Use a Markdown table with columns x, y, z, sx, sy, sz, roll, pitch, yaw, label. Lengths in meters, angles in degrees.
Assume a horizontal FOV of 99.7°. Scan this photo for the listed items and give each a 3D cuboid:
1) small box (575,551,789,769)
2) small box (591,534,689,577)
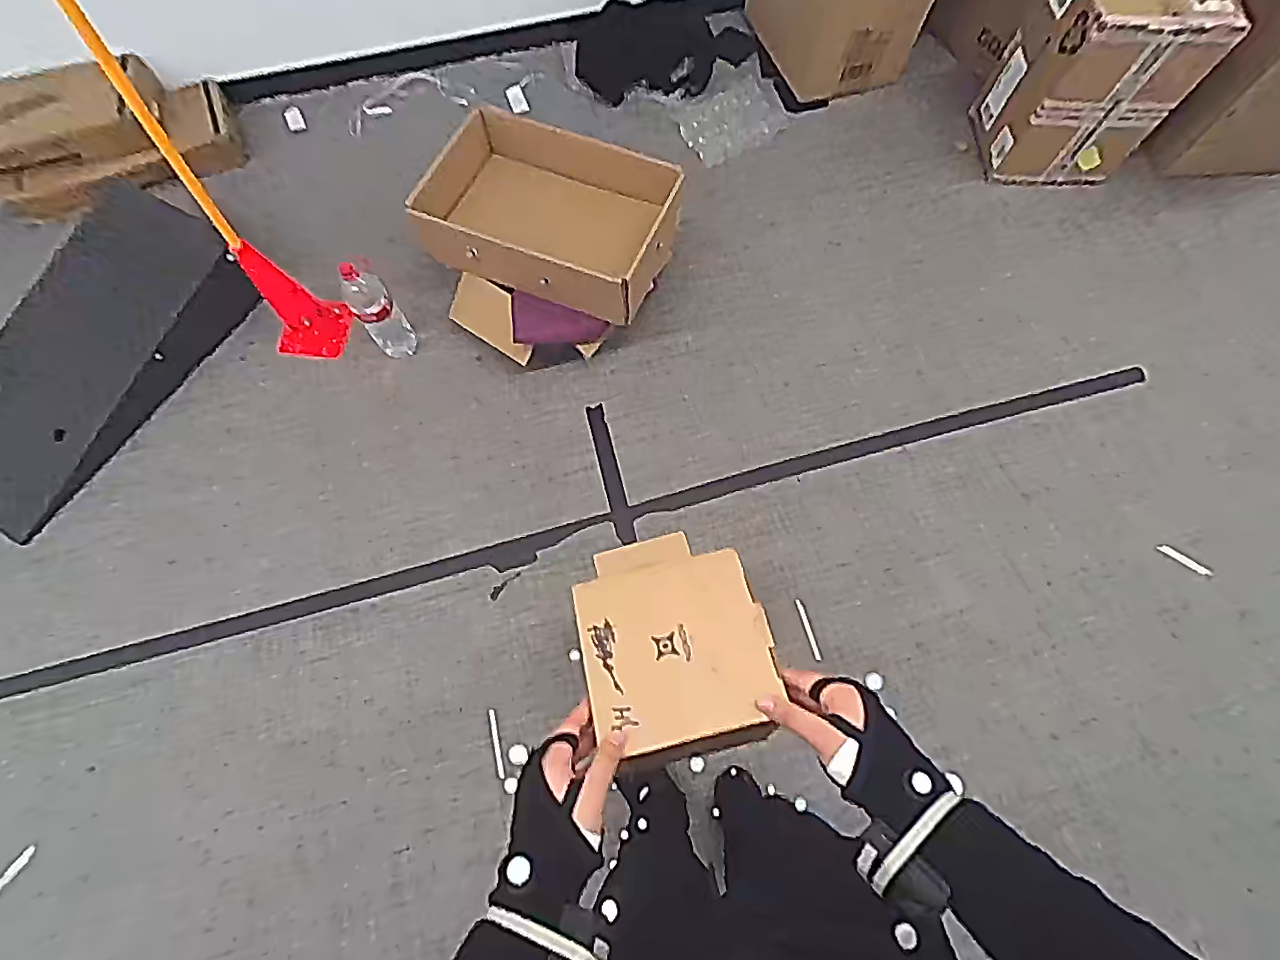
| x | y | z | sx | sy | sz | roll | pitch | yaw | label |
| --- | --- | --- | --- | --- | --- | --- | --- | --- | --- |
| 0.034 | 0.197 | 0.579 | 0.179 | 0.176 | 0.168 | -11 | 58 | -5 | small box |
| 0.015 | 0.217 | 0.980 | 0.168 | 0.176 | 0.179 | -14 | 70 | -6 | small box |
